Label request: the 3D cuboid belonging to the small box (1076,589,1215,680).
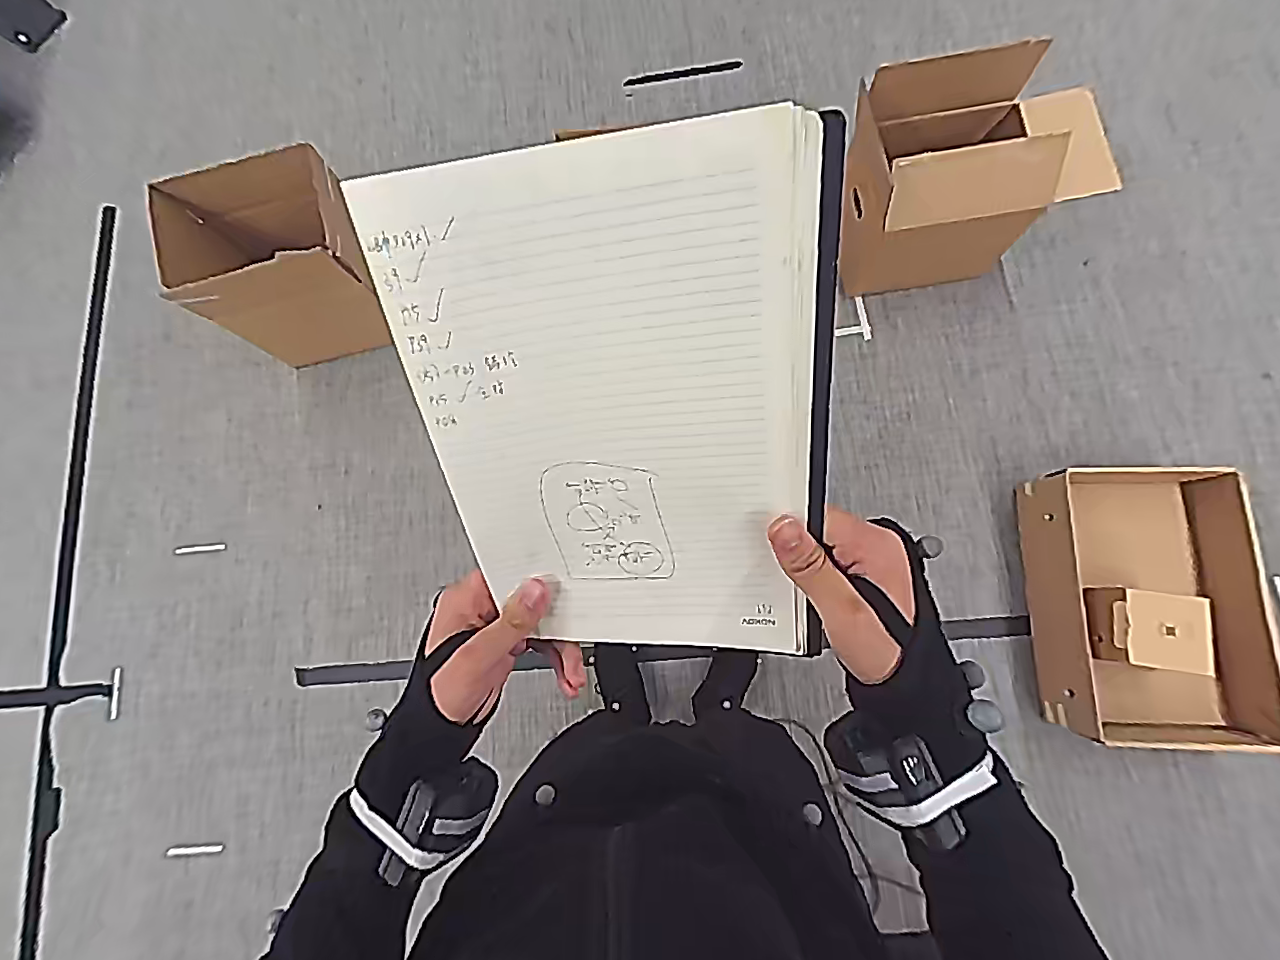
[{"bbox_3d":[1.148,0.350,1.245,0.179,0.176,0.168,8,79,6],"label":"small box"}]
